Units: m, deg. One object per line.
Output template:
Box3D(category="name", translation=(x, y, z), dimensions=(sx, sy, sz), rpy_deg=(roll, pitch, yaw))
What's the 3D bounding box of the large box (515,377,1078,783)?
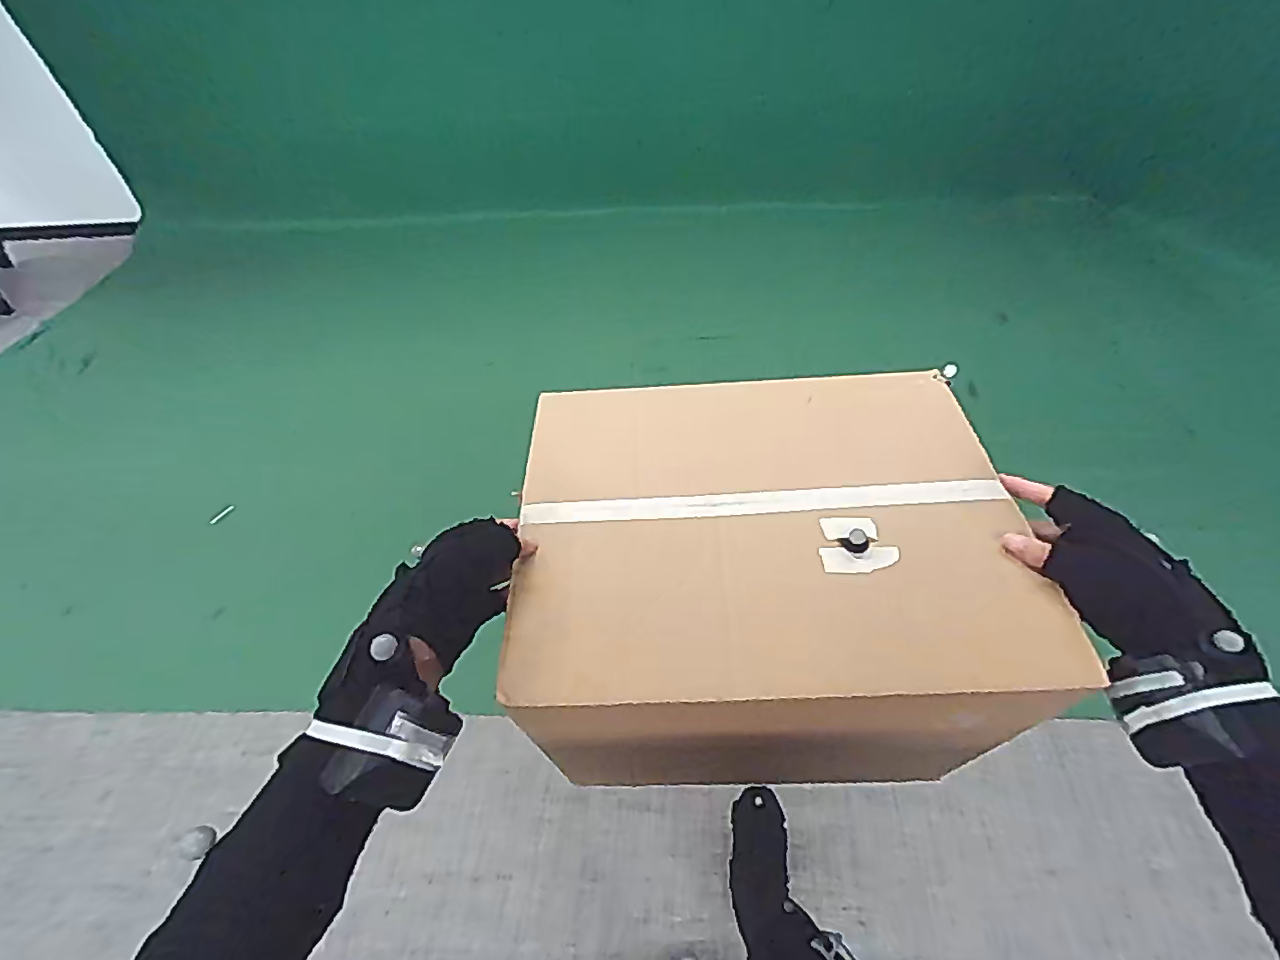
Box3D(category="large box", translation=(0.111, 0.119, 0.585), dimensions=(0.408, 0.320, 0.320), rpy_deg=(-4, 52, 3))
